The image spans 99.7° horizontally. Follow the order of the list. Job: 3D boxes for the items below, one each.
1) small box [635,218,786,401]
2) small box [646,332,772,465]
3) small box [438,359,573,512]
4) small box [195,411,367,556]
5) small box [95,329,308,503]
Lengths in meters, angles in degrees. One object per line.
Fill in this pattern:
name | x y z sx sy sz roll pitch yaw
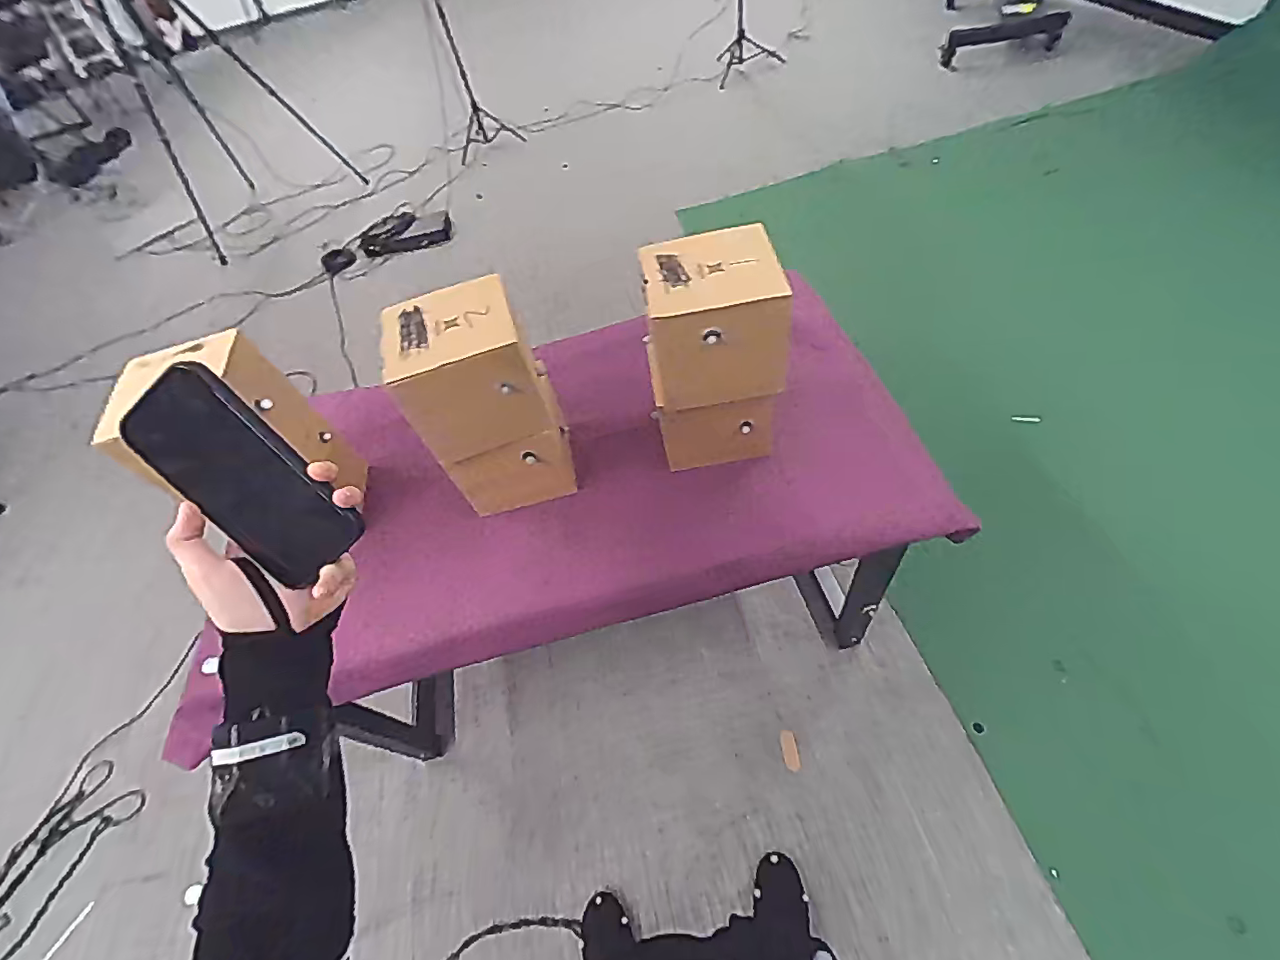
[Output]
small box | 0.098 -0.230 0.757 0.179 0.176 0.168 -10 53 4
small box | 0.114 -0.146 0.898 0.179 0.176 0.168 -10 53 5
small box | -0.218 -0.070 0.911 0.179 0.176 0.168 -15 53 1
small box | -0.599 0.015 0.931 0.168 0.176 0.179 -14 53 1
small box | -0.629 -0.086 0.805 0.168 0.176 0.179 -18 54 -2
